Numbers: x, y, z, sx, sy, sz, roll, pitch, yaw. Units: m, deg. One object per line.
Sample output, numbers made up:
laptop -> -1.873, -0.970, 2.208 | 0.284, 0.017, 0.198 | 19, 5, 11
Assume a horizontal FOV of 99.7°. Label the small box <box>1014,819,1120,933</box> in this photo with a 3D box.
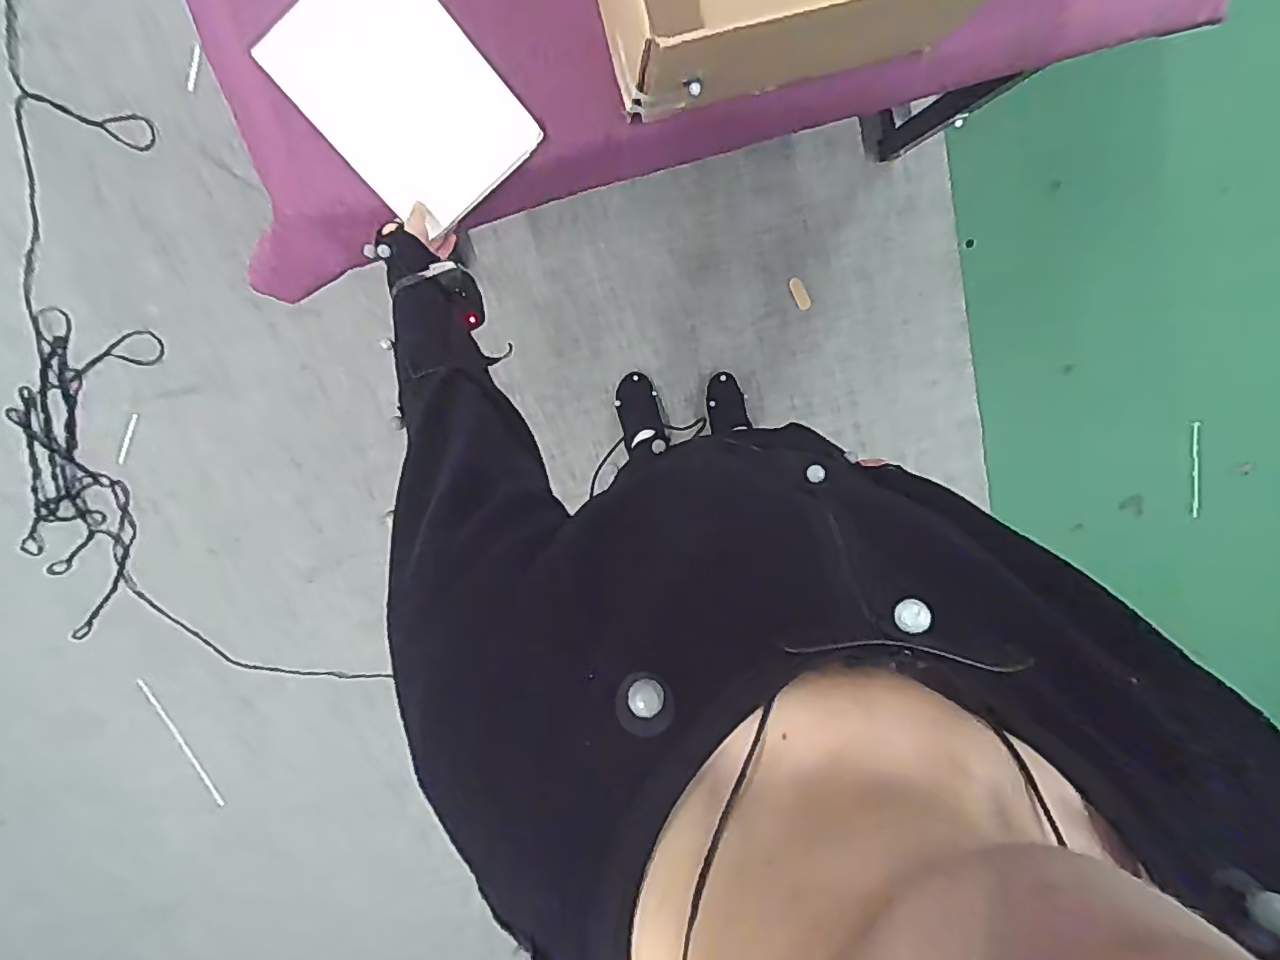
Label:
small box -> 1.151, 1.050, 1.444 | 0.168, 0.176, 0.179 | -30, 103, 3
